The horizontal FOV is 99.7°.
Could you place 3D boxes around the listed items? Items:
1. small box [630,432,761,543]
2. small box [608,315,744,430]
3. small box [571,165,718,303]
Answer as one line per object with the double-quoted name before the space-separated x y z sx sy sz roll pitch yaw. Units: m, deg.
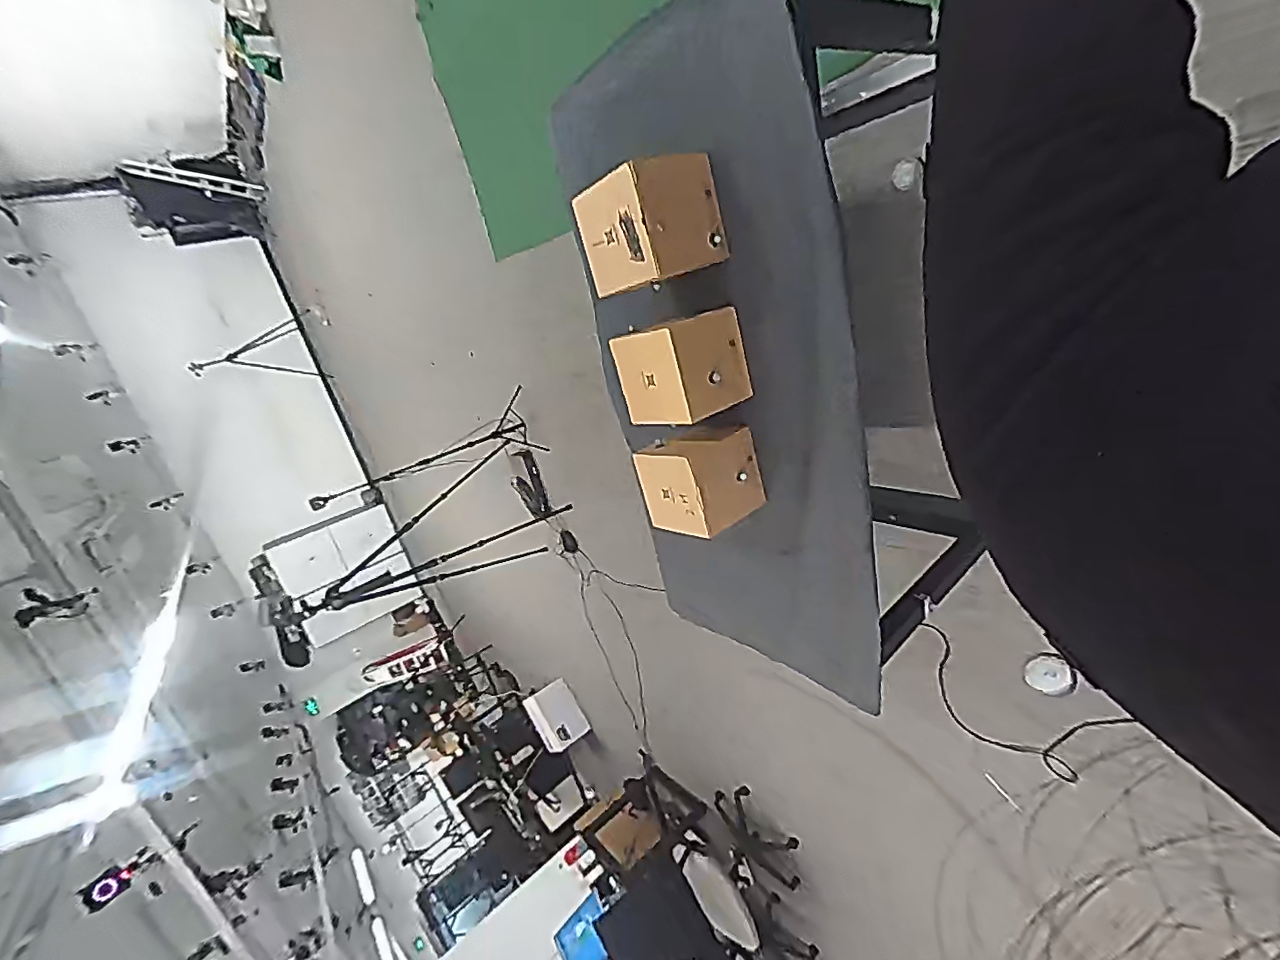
"small box" 0.113 0.007 1.086 0.179 0.176 0.168 6 117 53
"small box" 0.073 -0.198 1.000 0.179 0.176 0.168 8 118 53
"small box" 0.015 -0.417 0.923 0.179 0.176 0.168 7 118 54
